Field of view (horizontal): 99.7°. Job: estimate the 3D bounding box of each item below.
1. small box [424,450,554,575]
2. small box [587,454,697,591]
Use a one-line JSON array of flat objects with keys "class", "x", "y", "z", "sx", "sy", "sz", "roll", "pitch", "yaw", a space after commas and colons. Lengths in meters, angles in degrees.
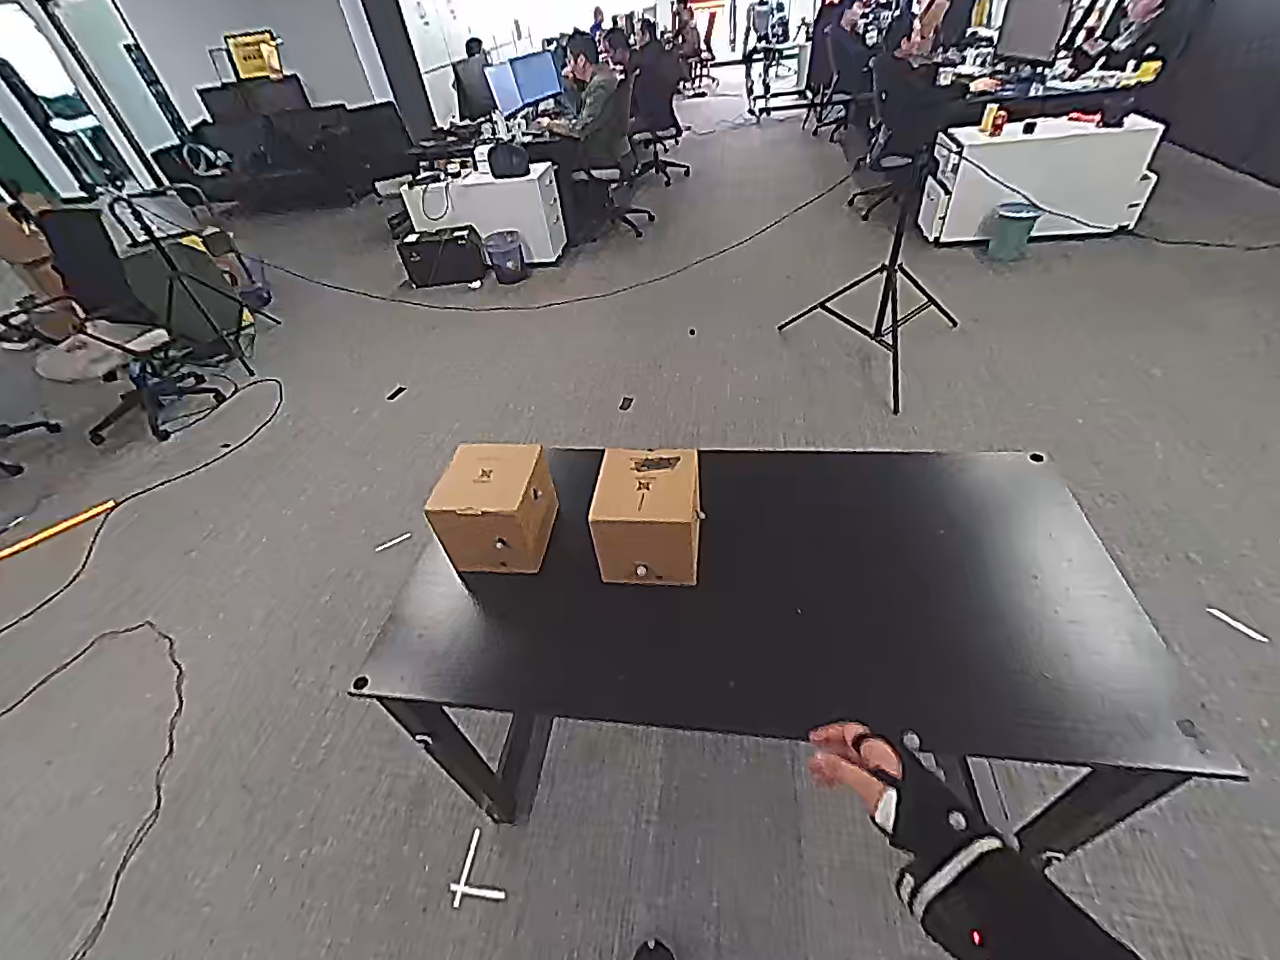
[{"class": "small box", "x": -0.268, "y": 0.062, "z": 1.011, "sx": 0.168, "sy": 0.176, "sz": 0.179, "roll": 1, "pitch": 42, "yaw": 8}, {"class": "small box", "x": 0.014, "y": 0.072, "z": 0.956, "sx": 0.168, "sy": 0.176, "sz": 0.179, "roll": 0, "pitch": 44, "yaw": 9}]
